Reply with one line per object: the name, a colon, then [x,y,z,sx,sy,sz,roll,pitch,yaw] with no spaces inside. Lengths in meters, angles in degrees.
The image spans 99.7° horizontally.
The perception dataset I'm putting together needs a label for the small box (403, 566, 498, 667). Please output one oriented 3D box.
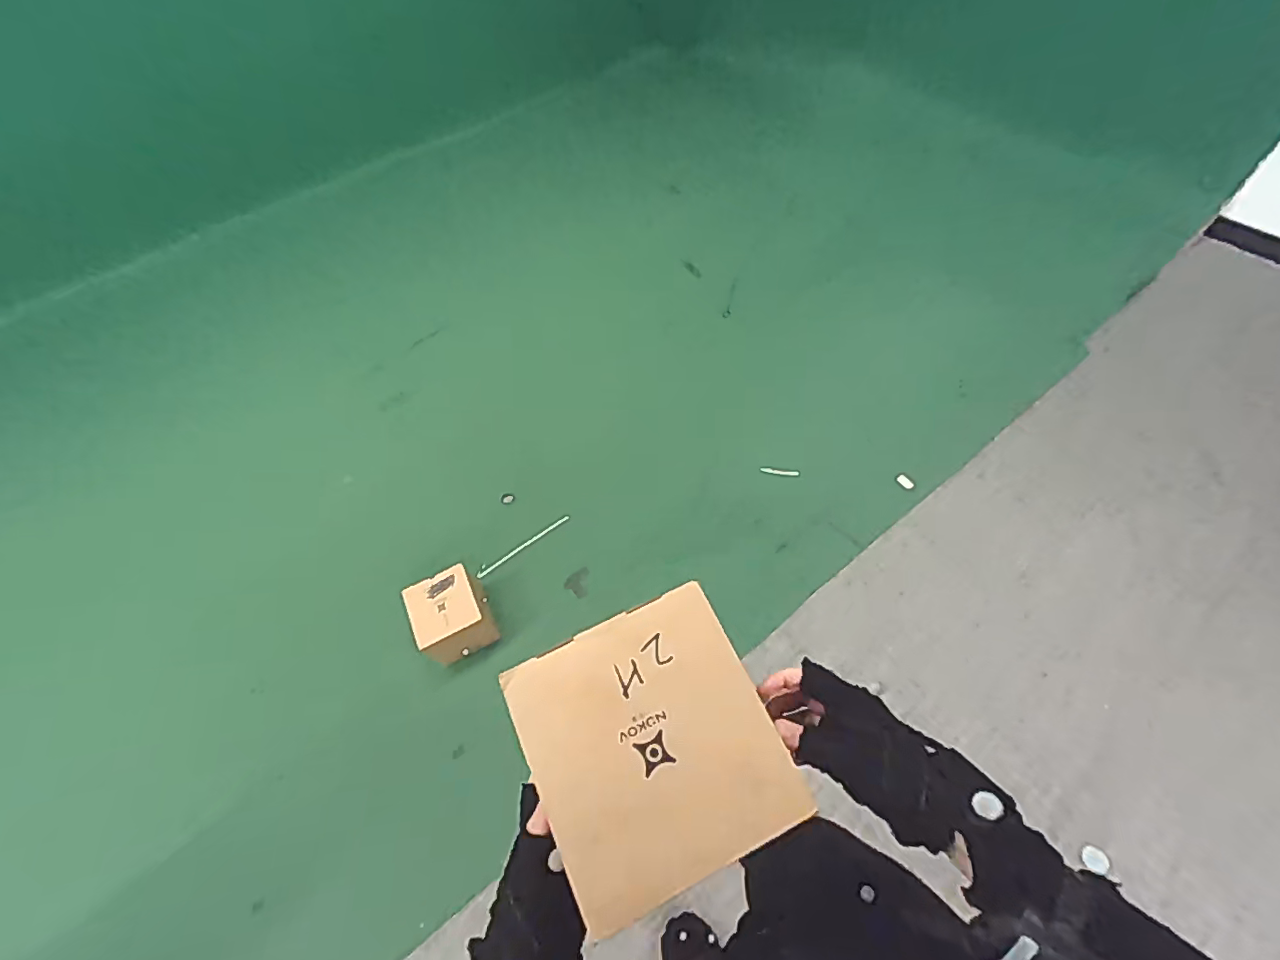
small box: [-0.492,0.363,1.419,0.168,0.176,0.179,-25,59,-11]
